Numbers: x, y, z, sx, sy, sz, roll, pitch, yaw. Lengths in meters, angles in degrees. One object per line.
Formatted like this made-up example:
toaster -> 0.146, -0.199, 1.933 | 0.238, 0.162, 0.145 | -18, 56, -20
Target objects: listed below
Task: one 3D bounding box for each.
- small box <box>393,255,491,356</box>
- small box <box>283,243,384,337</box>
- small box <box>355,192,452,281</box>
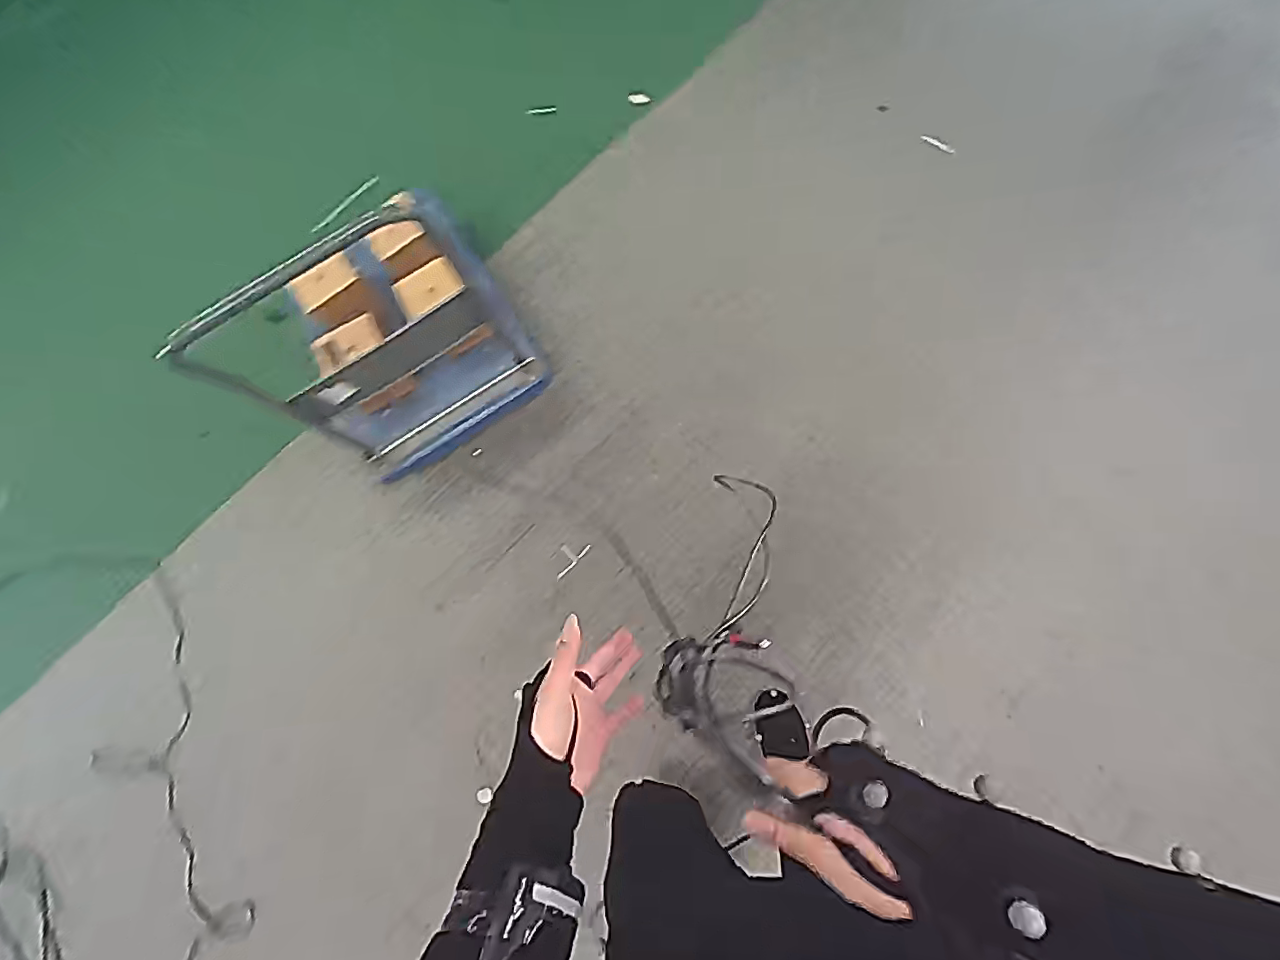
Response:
small box -> -0.555, -0.486, 1.531 | 0.168, 0.176, 0.179 | -32, 73, -1
small box -> -0.898, -0.550, 1.602 | 0.168, 0.176, 0.179 | -37, 72, -3
small box -> -0.698, -0.701, 1.611 | 0.168, 0.176, 0.179 | -37, 73, -1
